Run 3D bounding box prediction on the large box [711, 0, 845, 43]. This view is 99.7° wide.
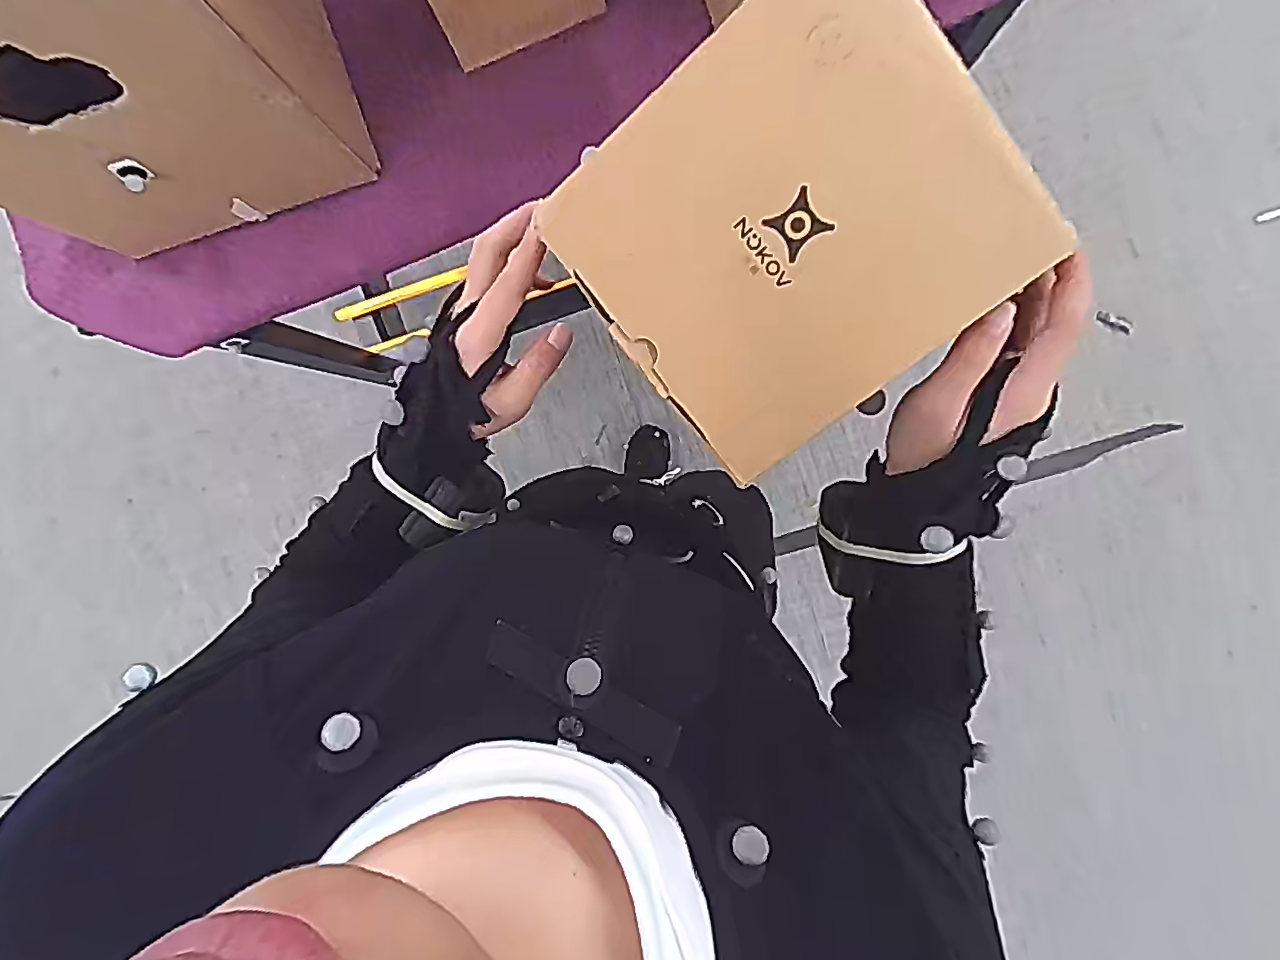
[{"bbox_3d":[0.163,-0.699,0.429,0.320,0.320,0.408,-19,91,3],"label":"large box"}]
